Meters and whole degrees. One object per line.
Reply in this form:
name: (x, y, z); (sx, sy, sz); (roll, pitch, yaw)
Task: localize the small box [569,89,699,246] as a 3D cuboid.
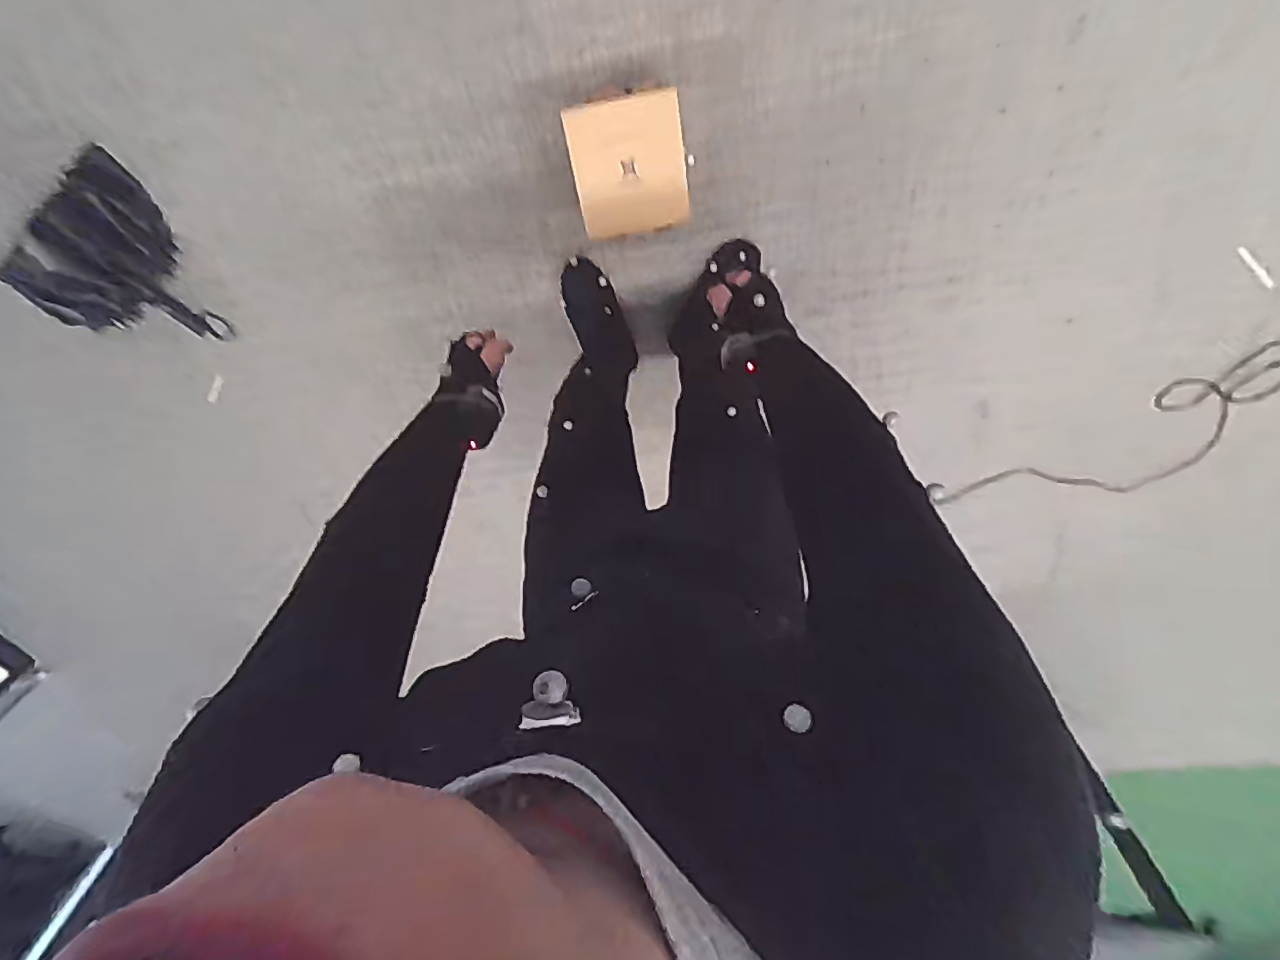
small box: (0.000, -0.491, 0.848); (0.168, 0.176, 0.179); (-8, 125, 8)
